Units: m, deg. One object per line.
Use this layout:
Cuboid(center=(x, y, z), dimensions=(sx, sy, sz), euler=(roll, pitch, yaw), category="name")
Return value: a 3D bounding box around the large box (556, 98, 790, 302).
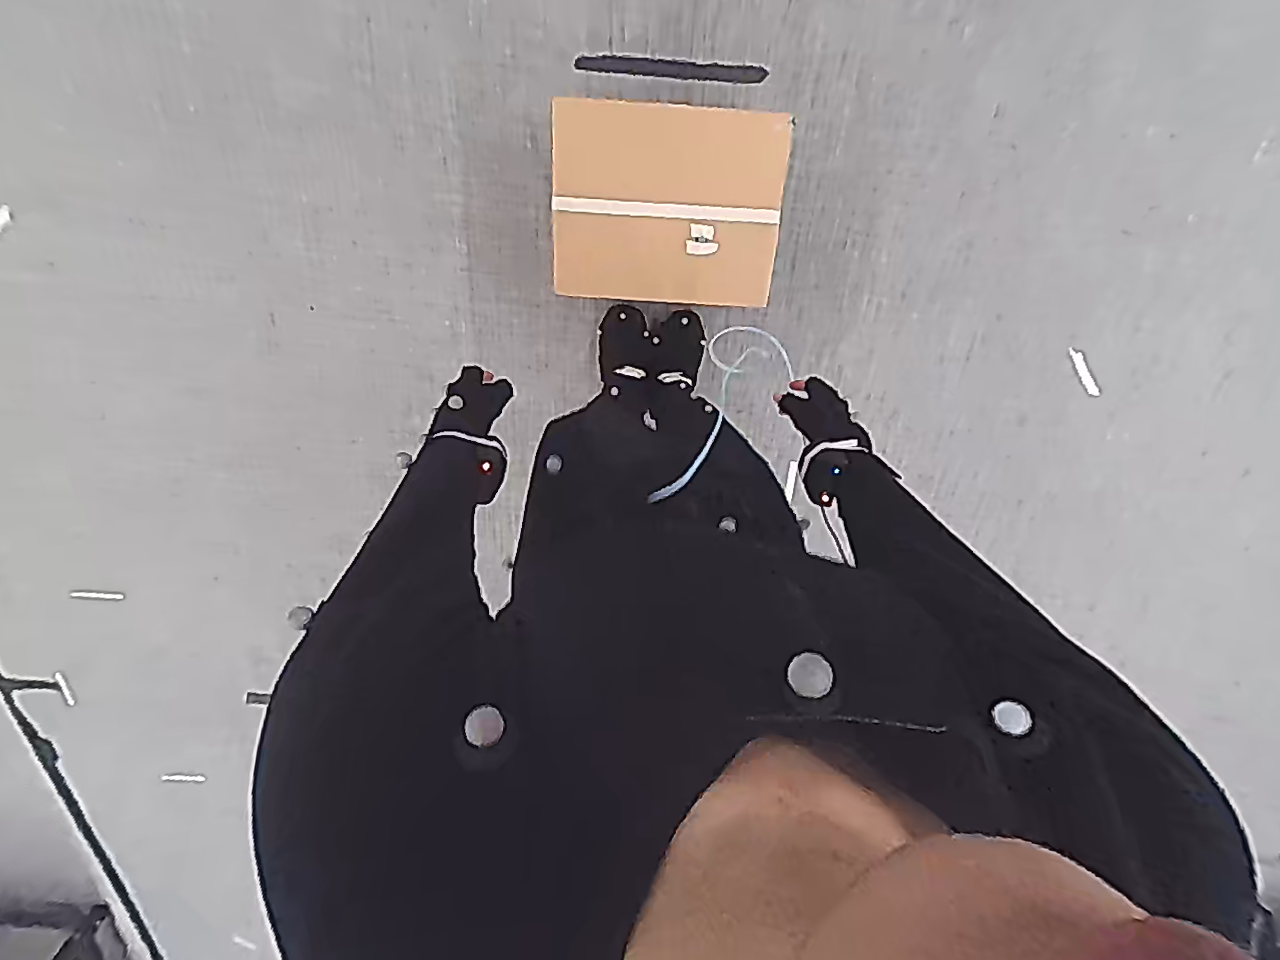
Cuboid(center=(0.045, -0.549, 1.102), dimensions=(0.408, 0.320, 0.320), euler=(3, 115, -3), category="large box")
